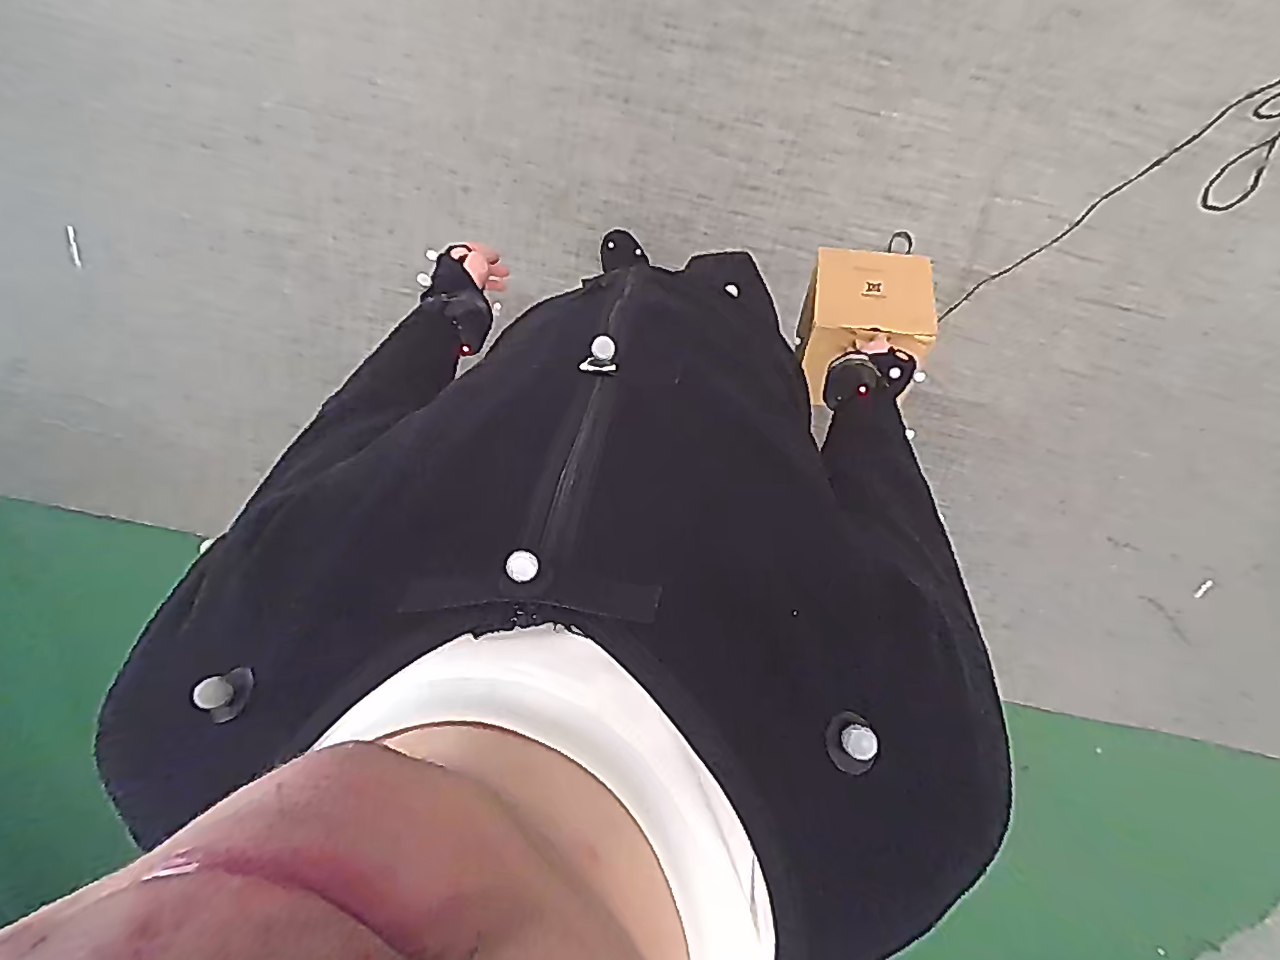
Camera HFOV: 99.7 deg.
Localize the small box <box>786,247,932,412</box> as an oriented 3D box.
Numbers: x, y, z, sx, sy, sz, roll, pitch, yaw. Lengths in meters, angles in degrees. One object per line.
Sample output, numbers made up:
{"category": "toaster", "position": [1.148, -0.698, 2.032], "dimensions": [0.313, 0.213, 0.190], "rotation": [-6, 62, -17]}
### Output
{"category": "small box", "position": [0.328, -0.228, 0.837], "dimensions": [0.168, 0.179, 0.176], "rotation": [10, 148, 7]}
